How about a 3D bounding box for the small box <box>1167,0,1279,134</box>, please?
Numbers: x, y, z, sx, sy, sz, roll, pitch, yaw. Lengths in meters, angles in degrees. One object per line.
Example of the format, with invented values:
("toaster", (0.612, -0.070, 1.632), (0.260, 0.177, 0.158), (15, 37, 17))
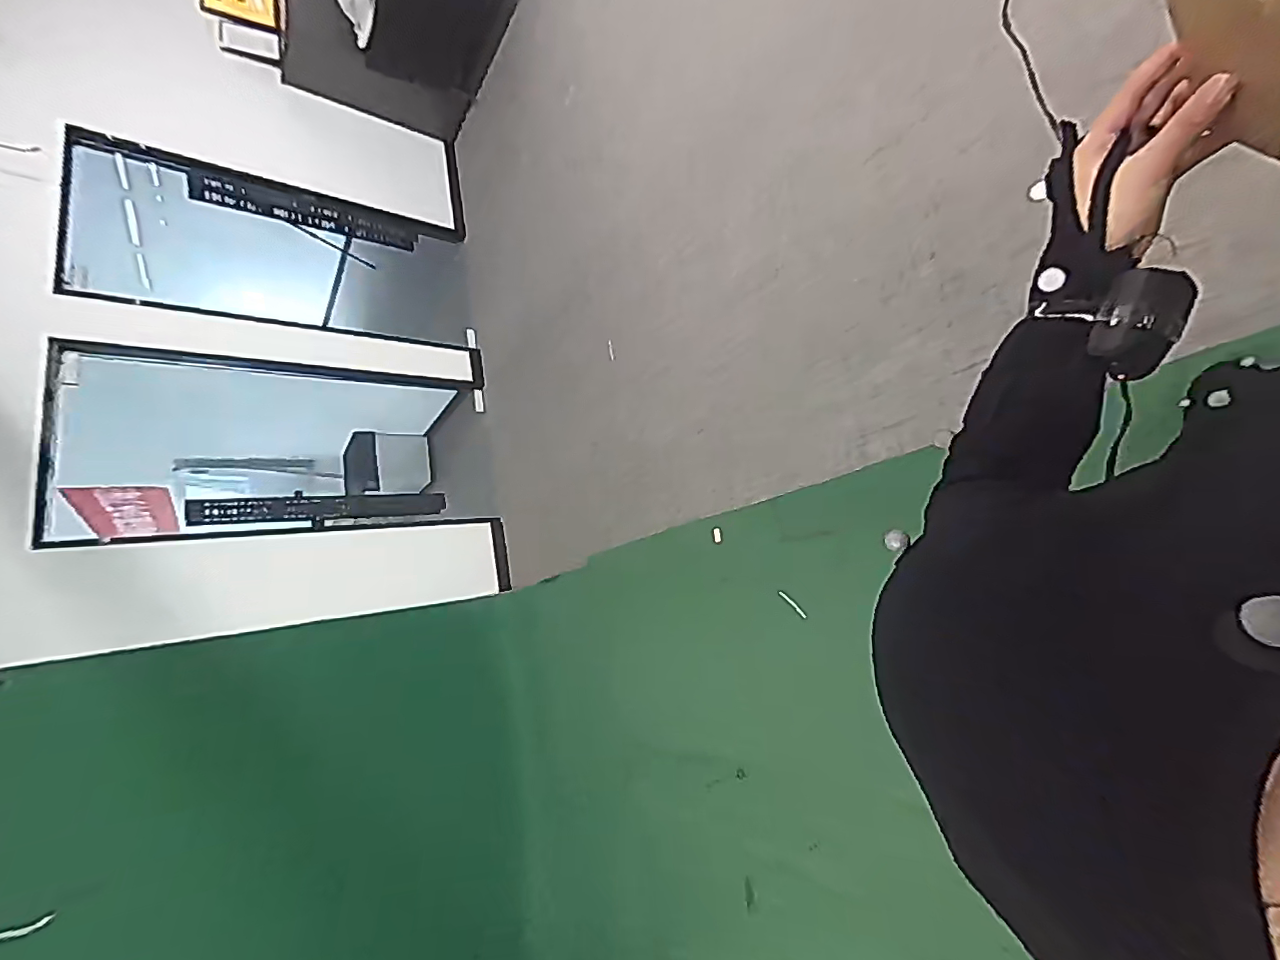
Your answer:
("small box", (0.395, -0.250, 0.228), (0.179, 0.176, 0.168), (-53, 49, 35))
